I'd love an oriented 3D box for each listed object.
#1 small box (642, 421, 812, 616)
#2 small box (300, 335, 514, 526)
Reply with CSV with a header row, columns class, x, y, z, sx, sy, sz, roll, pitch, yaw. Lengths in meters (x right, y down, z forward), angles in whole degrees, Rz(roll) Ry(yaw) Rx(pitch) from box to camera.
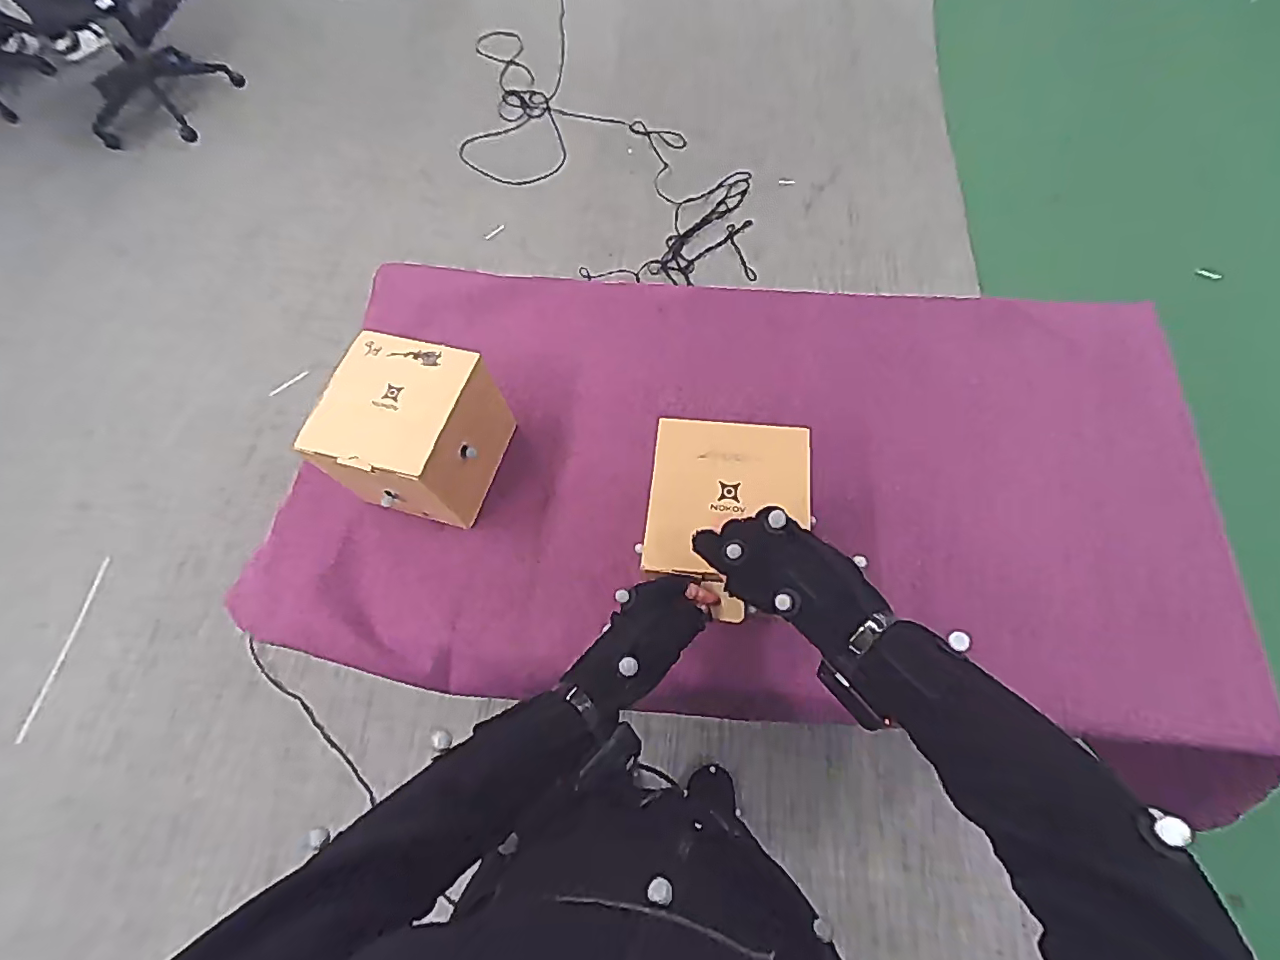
class,x,y,z,sx,sy,sz,roll,pitch,yaw
small box,0.099,0.053,0.630,0.168,0.176,0.179,5,65,6
small box,-0.285,-0.056,0.708,0.168,0.176,0.179,13,67,10
